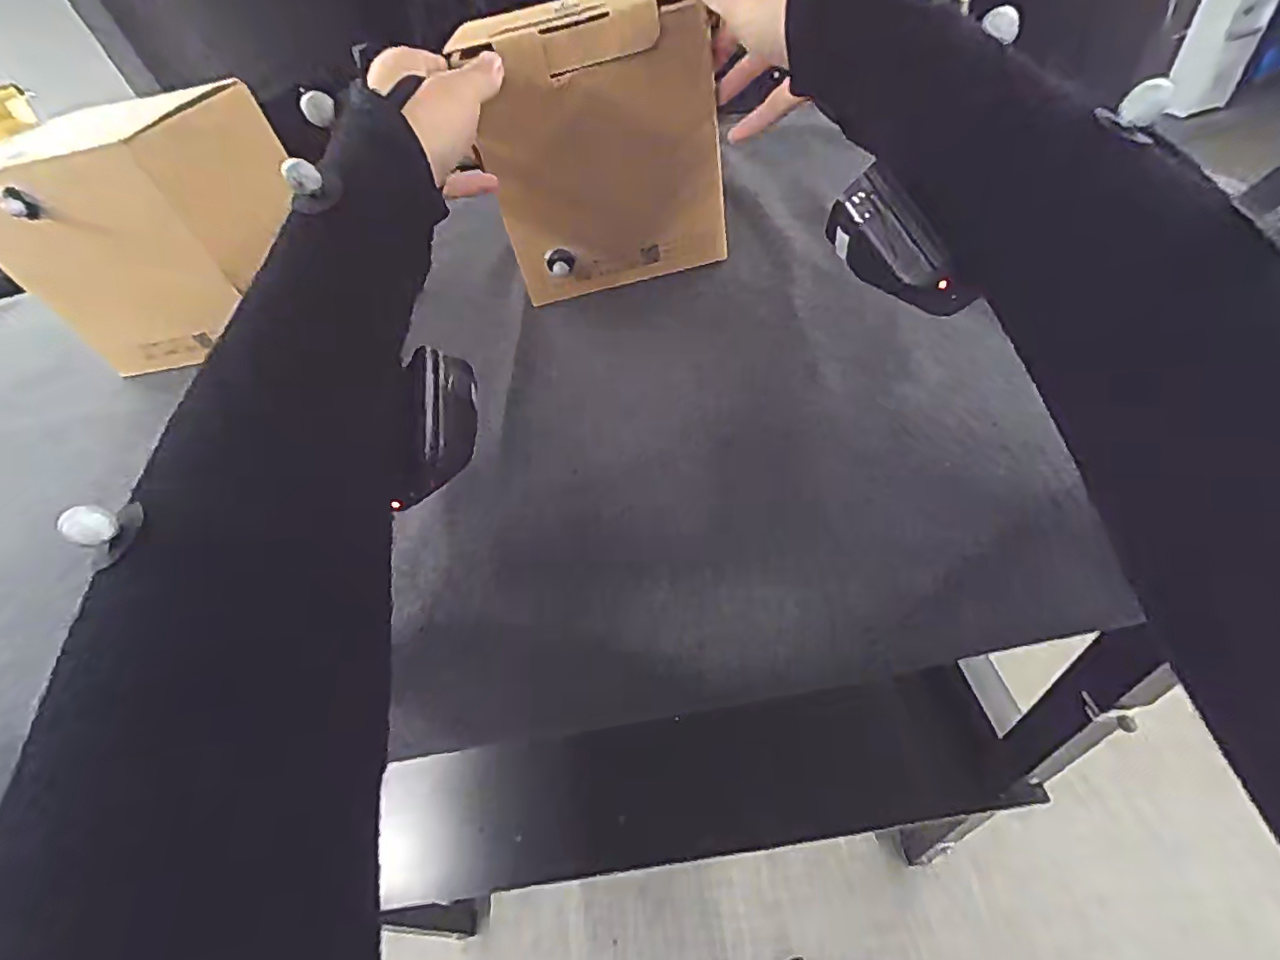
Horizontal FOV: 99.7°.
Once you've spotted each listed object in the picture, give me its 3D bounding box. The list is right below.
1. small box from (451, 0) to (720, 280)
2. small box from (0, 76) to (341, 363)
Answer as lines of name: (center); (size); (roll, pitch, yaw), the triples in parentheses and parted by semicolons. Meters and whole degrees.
small box: (-0.035, -0.283, 0.445); (0.168, 0.176, 0.179); (-13, 46, 1)
small box: (-0.407, -0.230, 0.485); (0.168, 0.176, 0.179); (-8, 47, 6)
